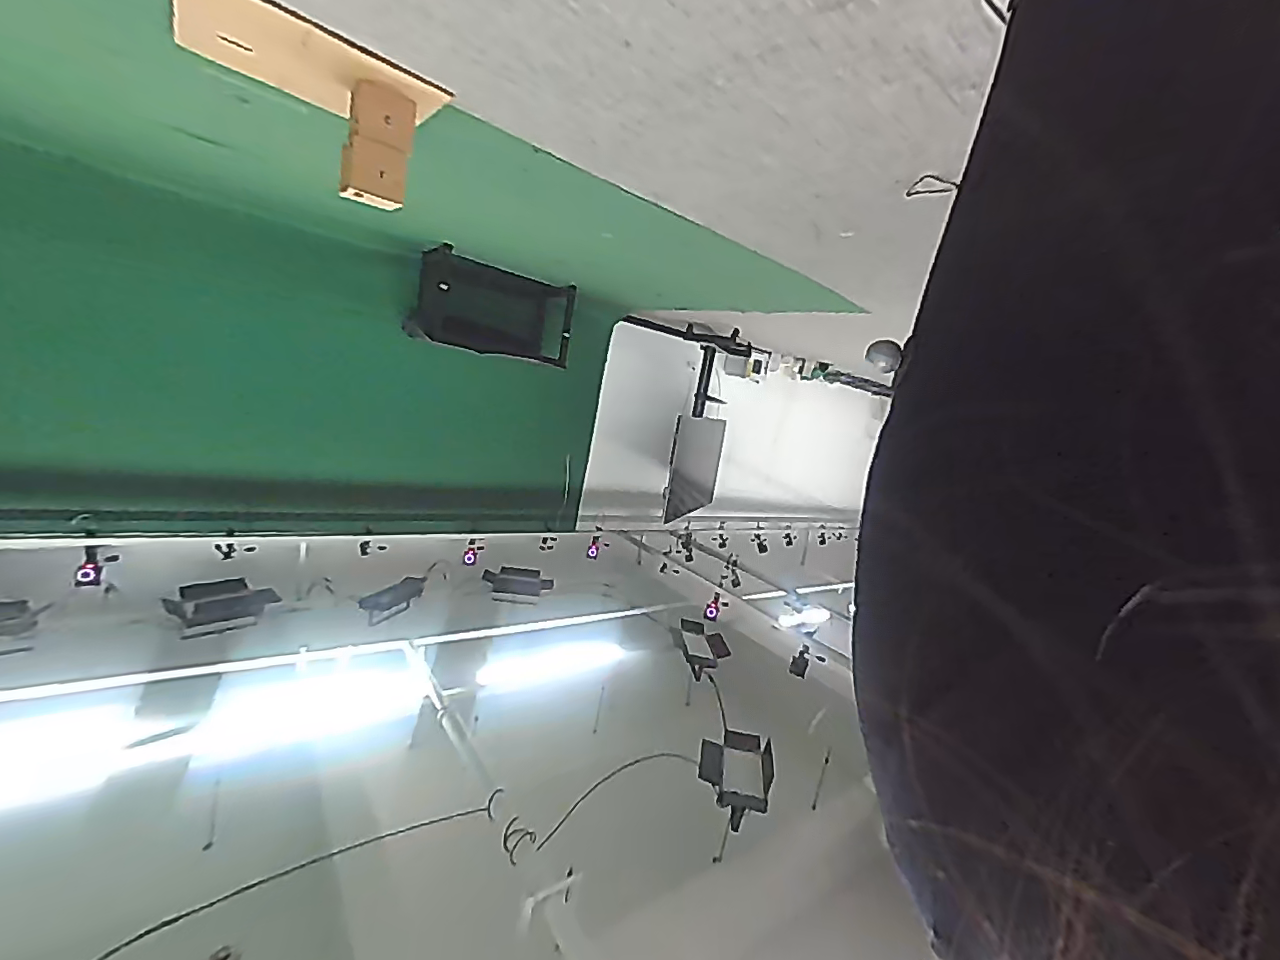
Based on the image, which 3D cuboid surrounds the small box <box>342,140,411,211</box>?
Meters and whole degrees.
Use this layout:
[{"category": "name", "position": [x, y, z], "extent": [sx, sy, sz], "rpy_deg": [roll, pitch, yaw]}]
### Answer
[{"category": "small box", "position": [-0.921, -1.066, 1.891], "extent": [0.179, 0.176, 0.168], "rpy_deg": [-1, -165, -43]}]
